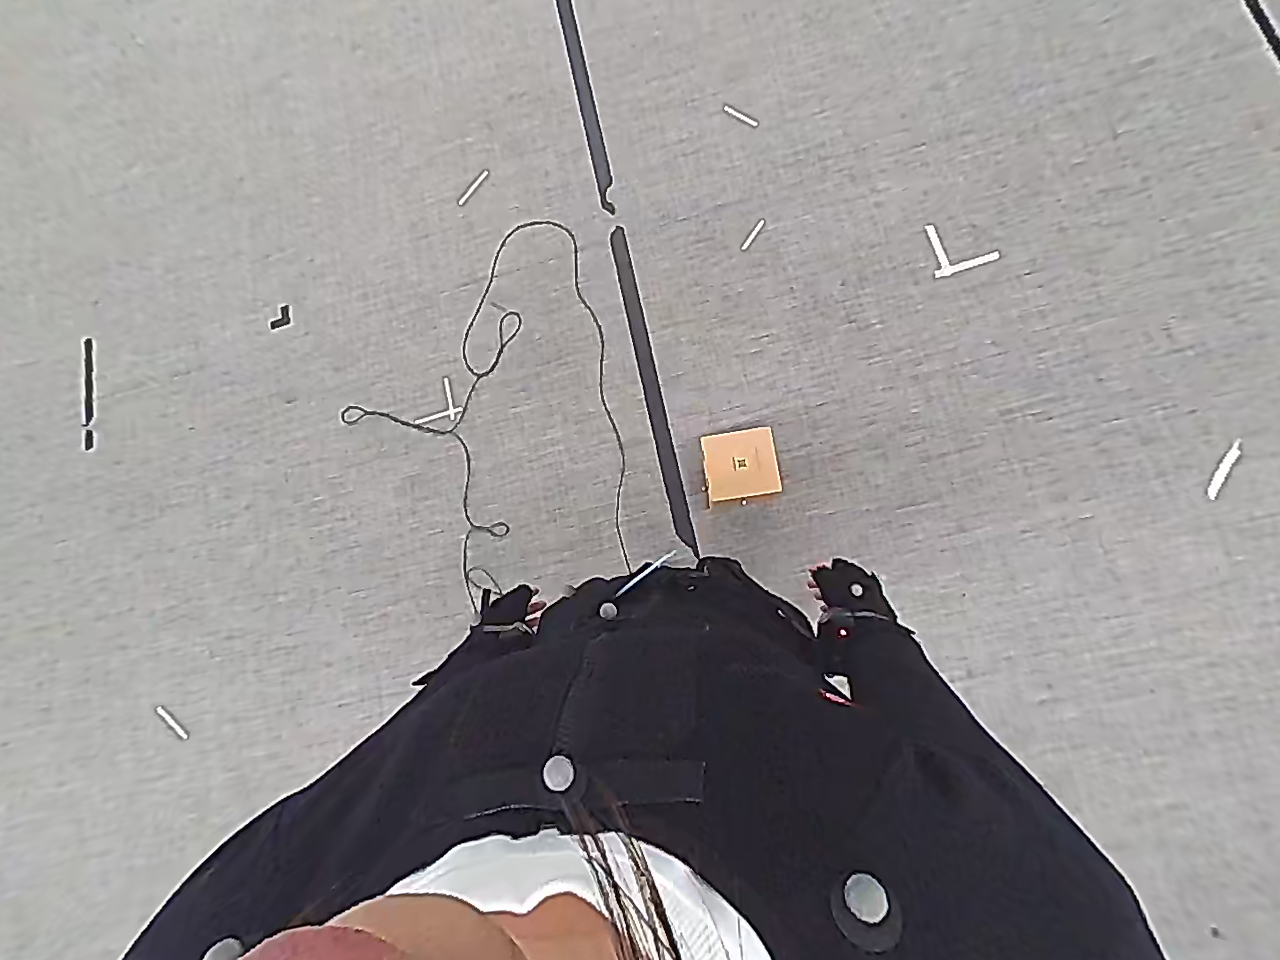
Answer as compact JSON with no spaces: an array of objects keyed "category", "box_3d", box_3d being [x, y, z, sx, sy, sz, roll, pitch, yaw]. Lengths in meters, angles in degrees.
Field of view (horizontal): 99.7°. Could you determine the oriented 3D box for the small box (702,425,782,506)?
[{"category":"small box","box_3d":[0.259,-0.031,1.401,0.179,0.176,0.168,-8,80,6]}]
